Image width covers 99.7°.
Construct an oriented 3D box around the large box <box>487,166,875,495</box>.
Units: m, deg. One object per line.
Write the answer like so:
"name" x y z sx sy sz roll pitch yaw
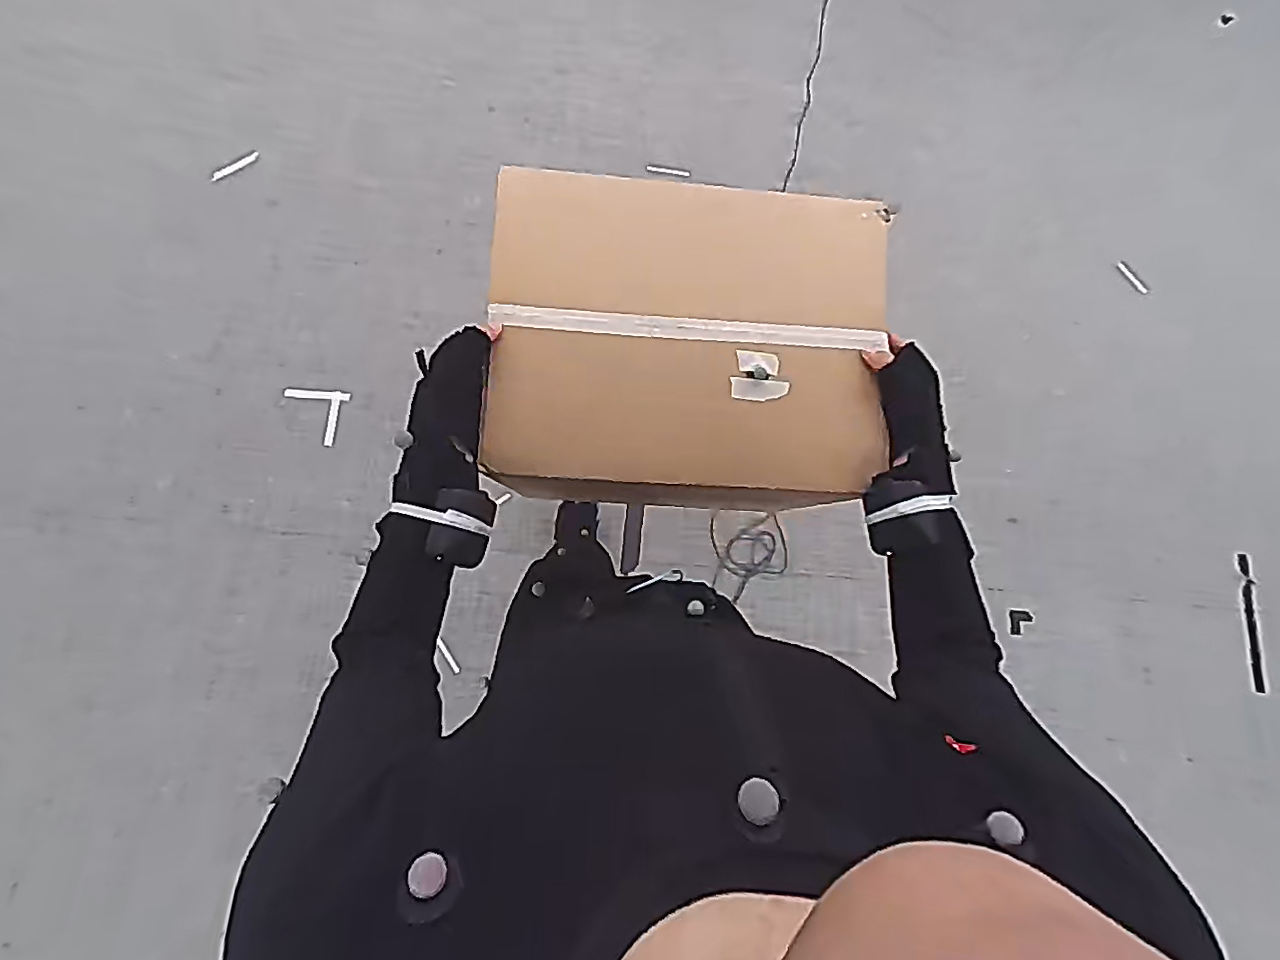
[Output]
"large box" 0.037 -0.150 0.706 0.408 0.320 0.320 3 85 -5
